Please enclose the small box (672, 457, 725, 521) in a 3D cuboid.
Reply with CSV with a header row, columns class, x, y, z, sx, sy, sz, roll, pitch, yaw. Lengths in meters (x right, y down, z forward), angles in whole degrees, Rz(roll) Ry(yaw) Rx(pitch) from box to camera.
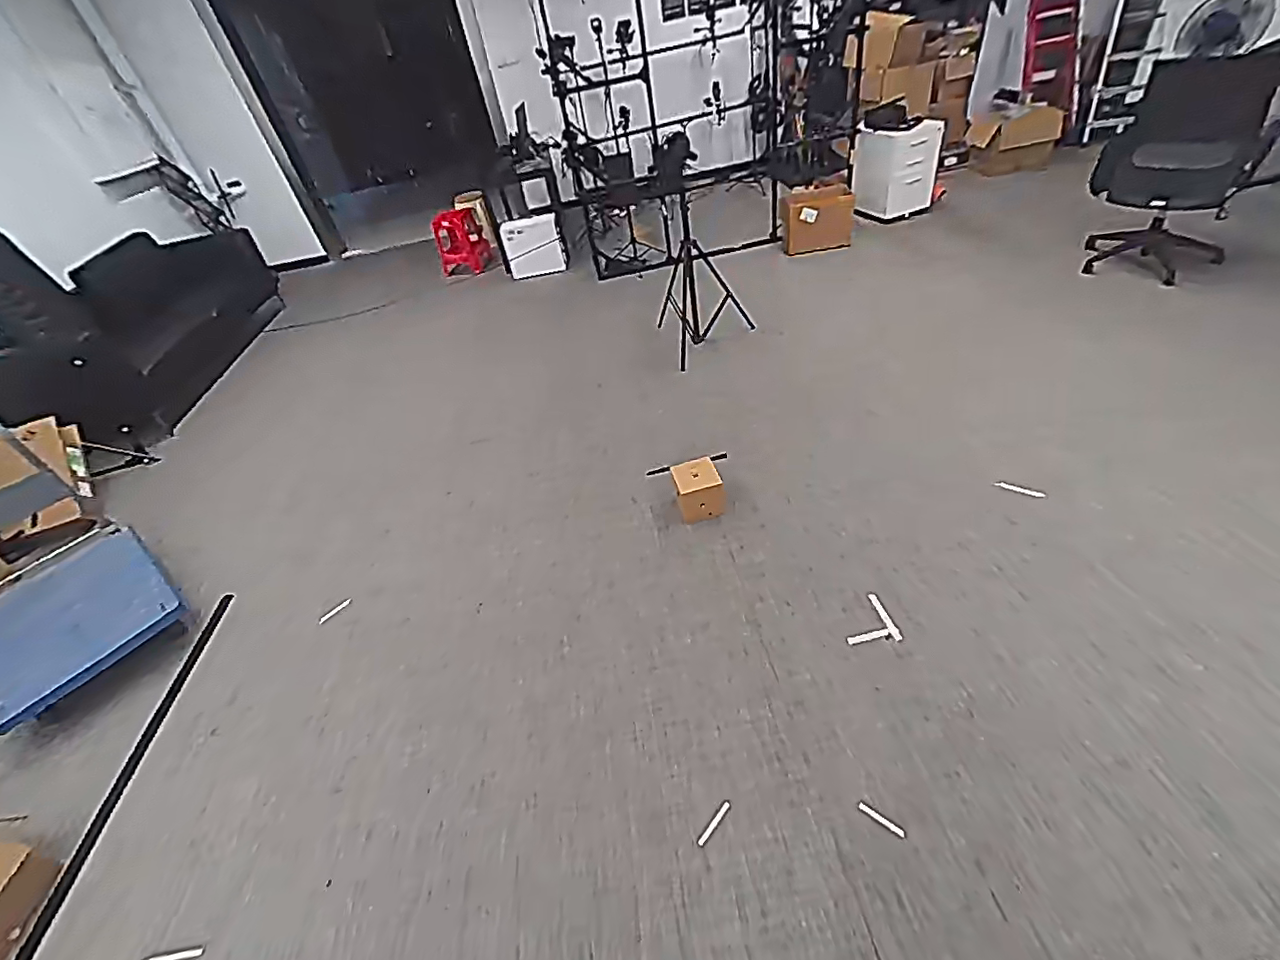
class,x,y,z,sx,sy,sz,roll,pitch,yaw
small box,0.233,0.042,2.133,0.168,0.176,0.179,-15,40,-3
